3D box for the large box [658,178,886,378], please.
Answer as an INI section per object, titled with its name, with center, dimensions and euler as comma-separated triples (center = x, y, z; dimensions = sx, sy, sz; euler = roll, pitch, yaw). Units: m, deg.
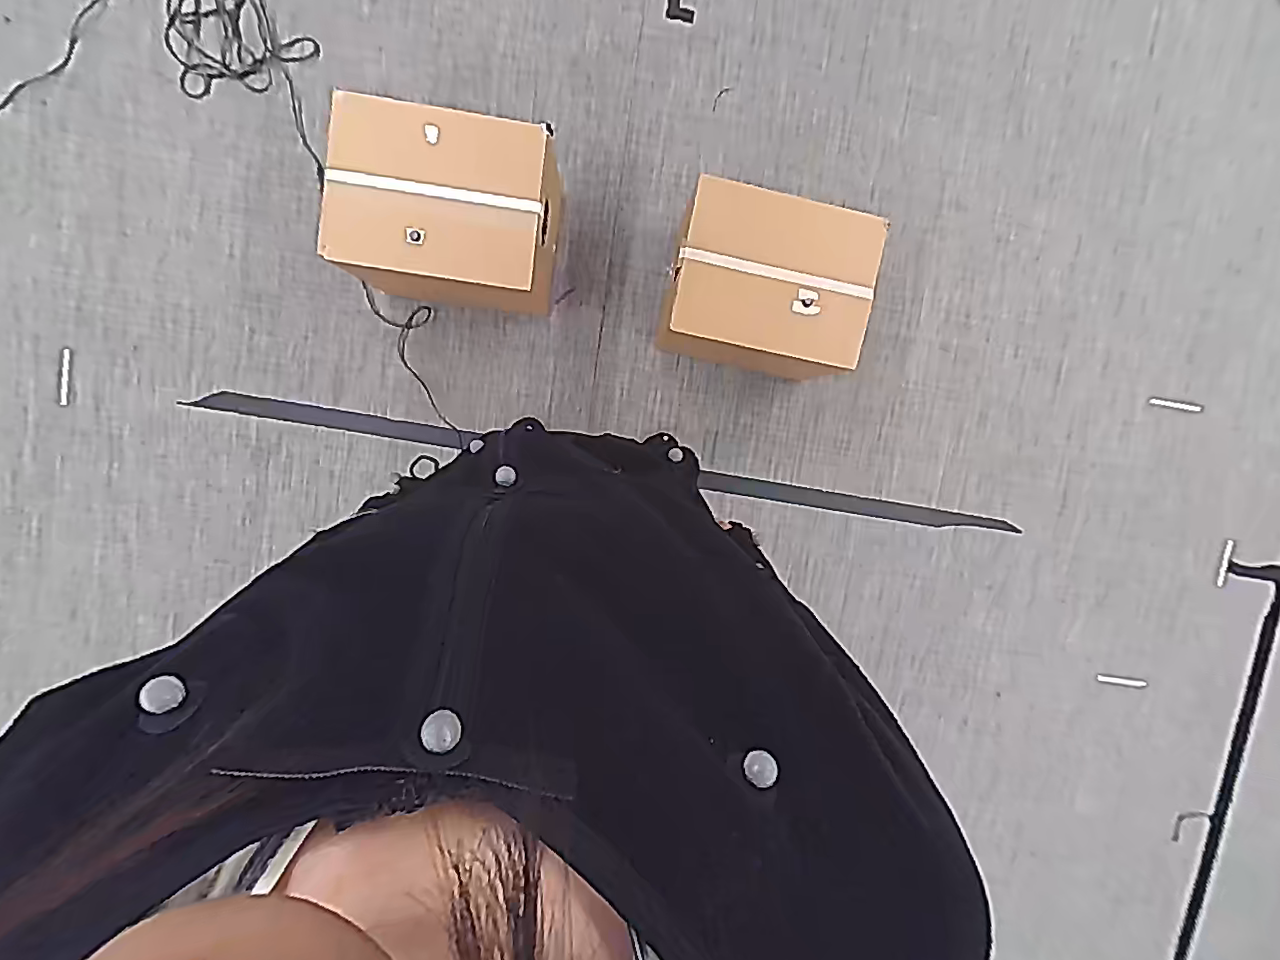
[large box]
center = 0.275, -0.438, 1.258
dimensions = 0.408, 0.320, 0.320
euler = 11, 95, -6
